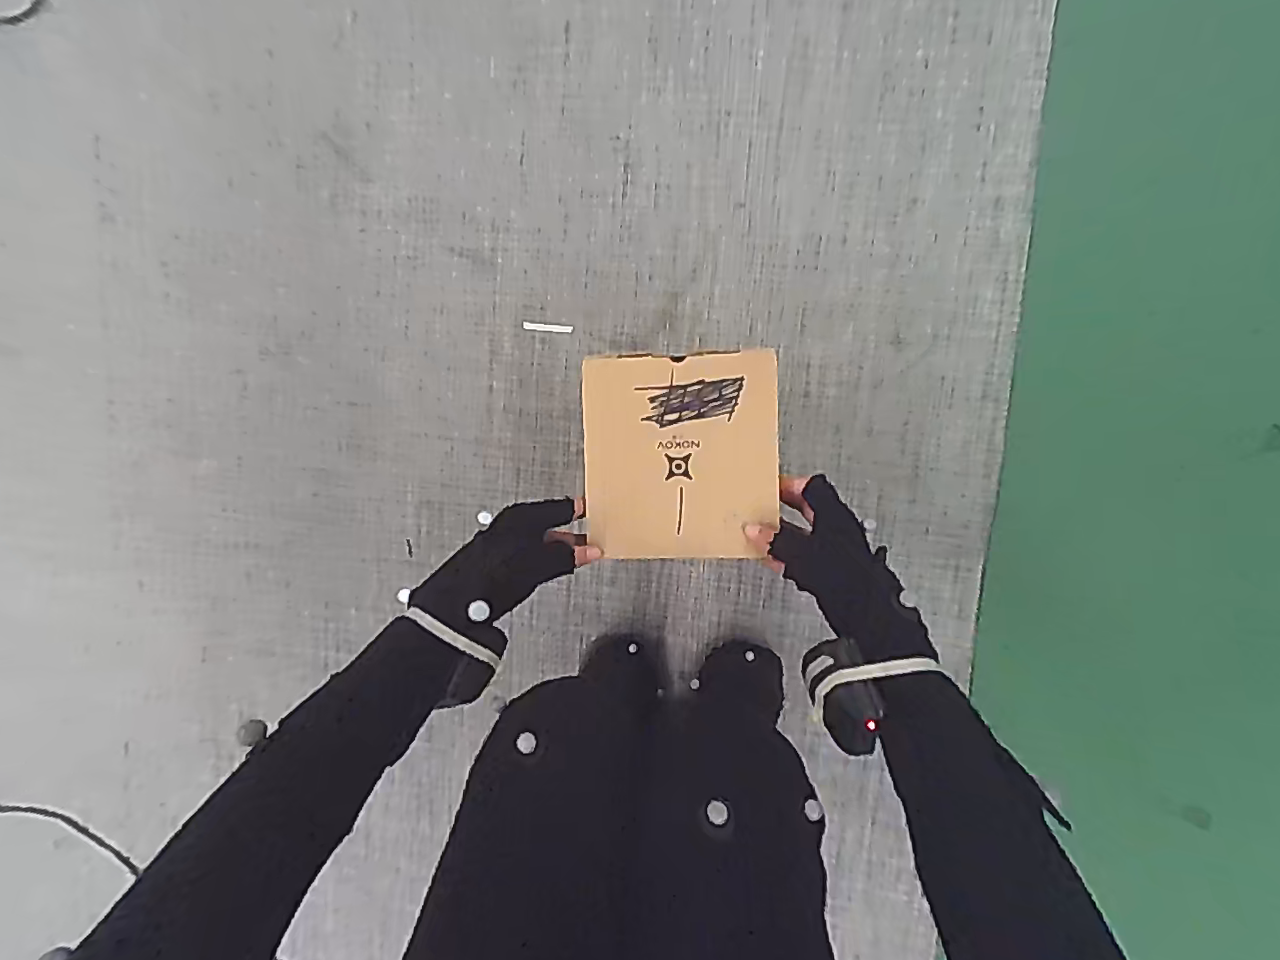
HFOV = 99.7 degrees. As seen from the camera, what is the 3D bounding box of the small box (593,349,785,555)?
[{"bbox_3d":[0.048,-0.025,0.540,0.168,0.176,0.179,-1,93,6],"label":"small box"}]
